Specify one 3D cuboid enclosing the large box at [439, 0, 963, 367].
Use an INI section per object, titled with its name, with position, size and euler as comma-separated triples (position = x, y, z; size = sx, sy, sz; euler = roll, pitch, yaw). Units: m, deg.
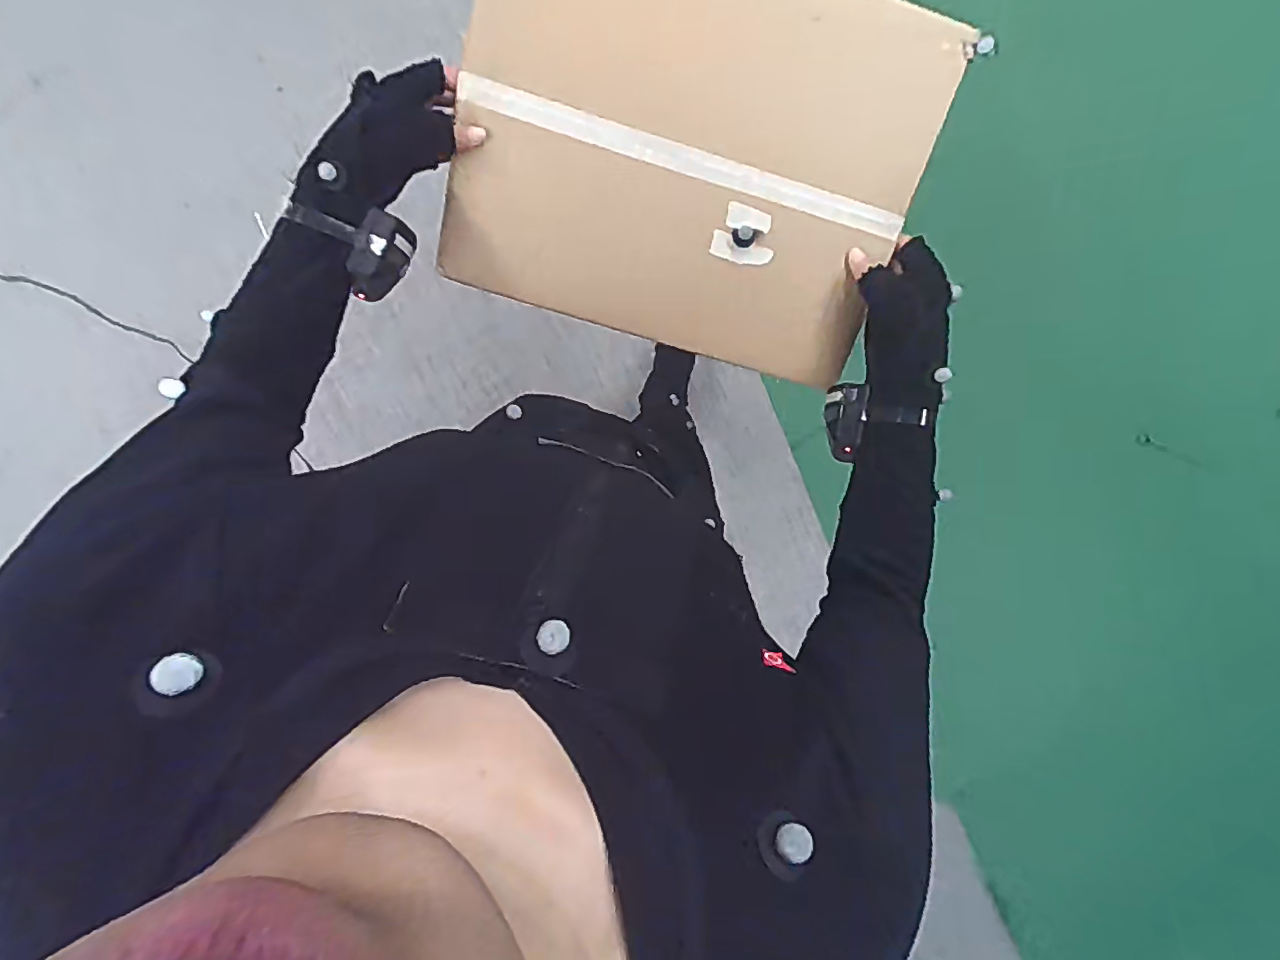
[large box]
position = 0.035, -0.343, 0.613
size = 0.408, 0.320, 0.320
euler = 14, 109, -6
